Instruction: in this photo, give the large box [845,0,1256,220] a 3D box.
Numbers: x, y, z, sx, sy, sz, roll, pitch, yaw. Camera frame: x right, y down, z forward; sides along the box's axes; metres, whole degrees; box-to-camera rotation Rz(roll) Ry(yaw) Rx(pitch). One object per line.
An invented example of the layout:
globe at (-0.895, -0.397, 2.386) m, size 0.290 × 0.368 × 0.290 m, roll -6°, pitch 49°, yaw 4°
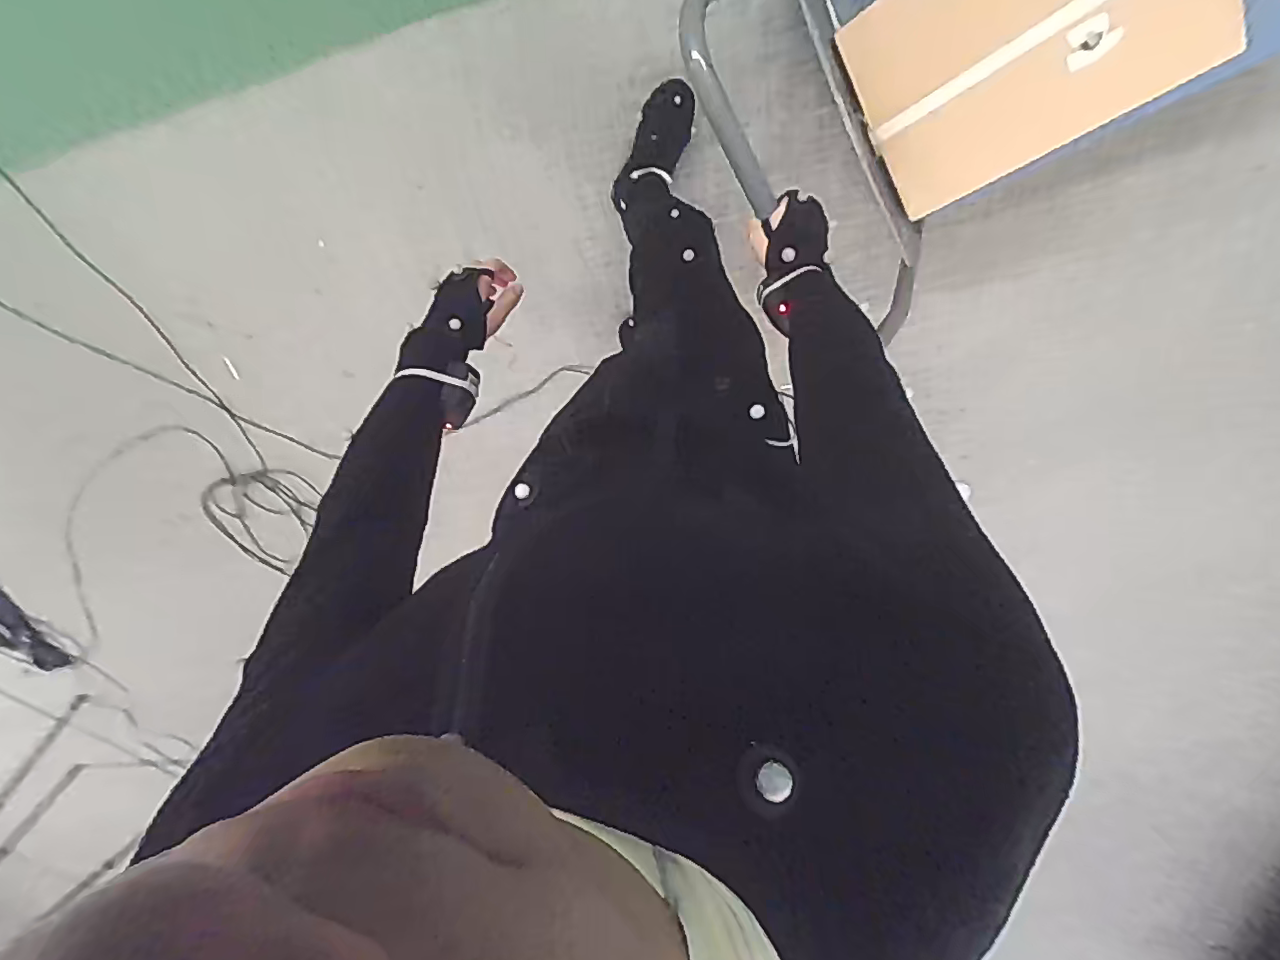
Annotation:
large box at (0.586, -0.691, 0.841) m, size 0.408 × 0.320 × 0.320 m, roll -19°, pitch 119°, yaw 37°
